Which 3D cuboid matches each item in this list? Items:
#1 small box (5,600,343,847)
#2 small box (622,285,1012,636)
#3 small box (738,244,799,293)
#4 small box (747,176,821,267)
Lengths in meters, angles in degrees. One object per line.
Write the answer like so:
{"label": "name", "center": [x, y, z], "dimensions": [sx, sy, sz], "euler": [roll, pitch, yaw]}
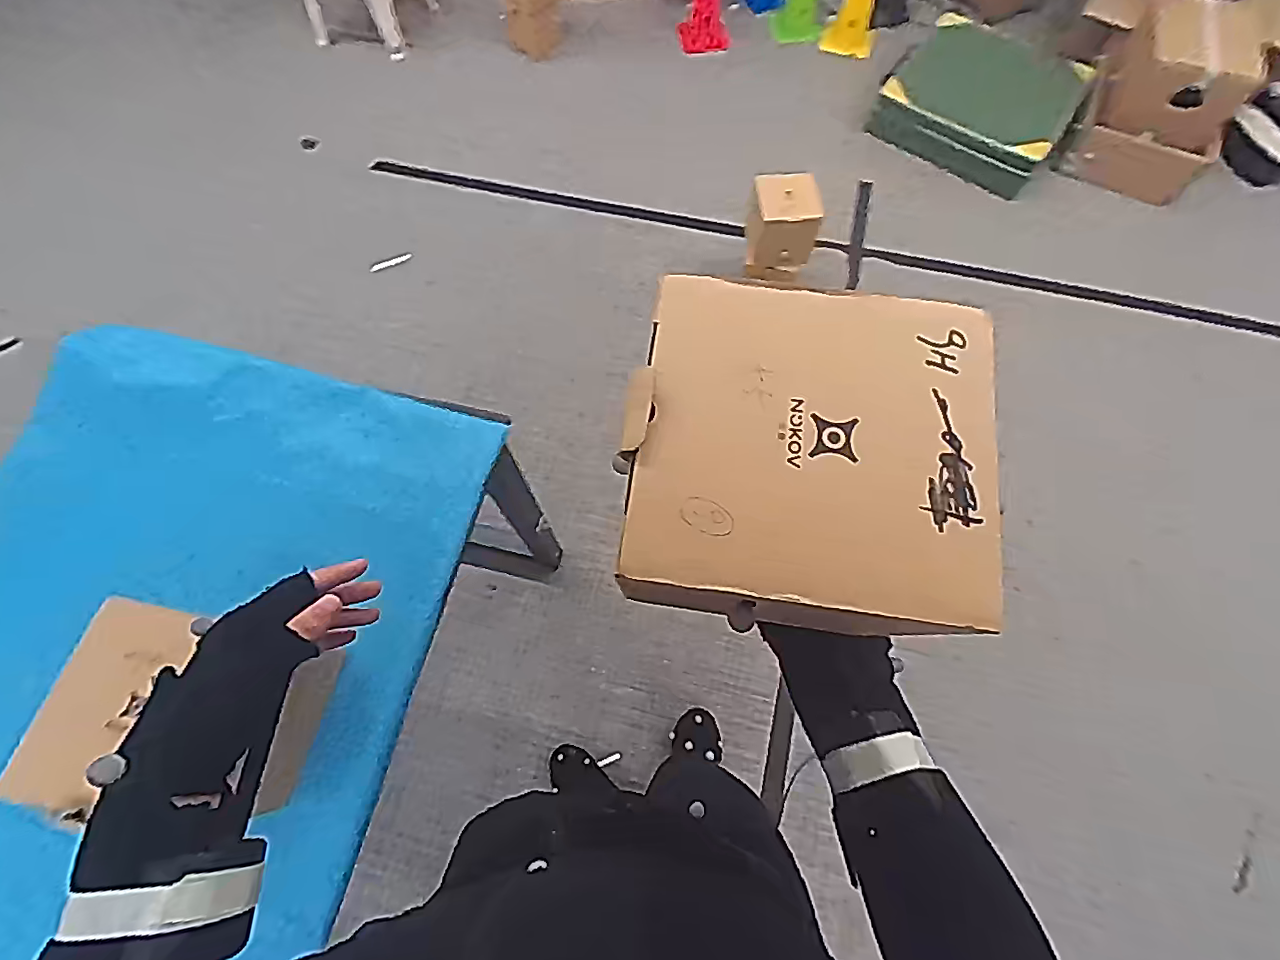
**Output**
{"label": "small box", "center": [-0.450, 0.241, 0.562], "dimensions": [0.168, 0.176, 0.179], "euler": [12, 68, 5]}
{"label": "small box", "center": [0.089, 0.004, 0.341], "dimensions": [0.179, 0.176, 0.168], "euler": [6, 73, 3]}
{"label": "small box", "center": [0.409, -0.670, 1.710], "dimensions": [0.168, 0.176, 0.179], "euler": [12, 67, 5]}
{"label": "small box", "center": [0.408, -0.743, 1.563], "dimensions": [0.168, 0.176, 0.179], "euler": [-1, 70, 1]}
